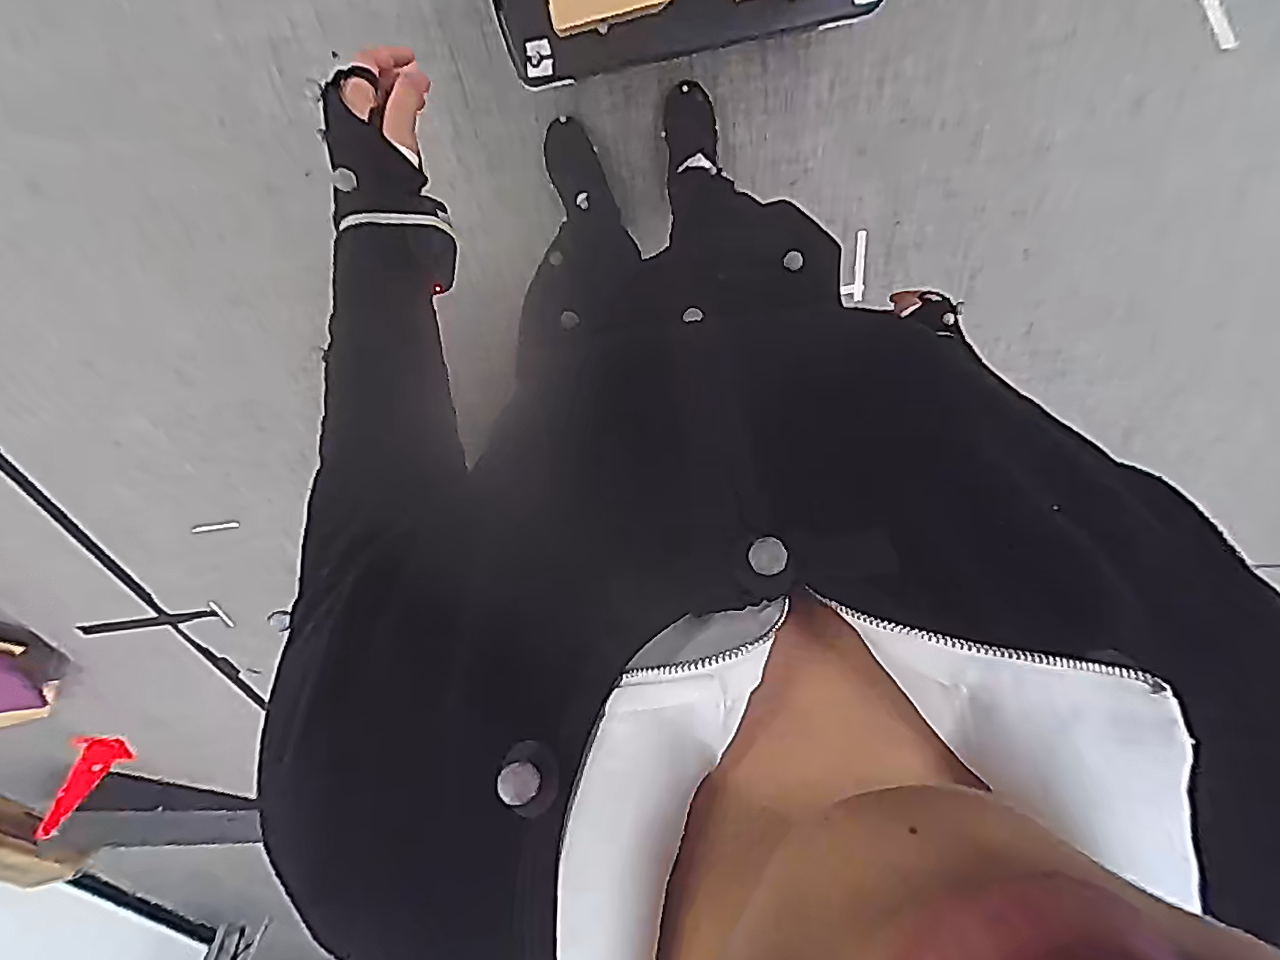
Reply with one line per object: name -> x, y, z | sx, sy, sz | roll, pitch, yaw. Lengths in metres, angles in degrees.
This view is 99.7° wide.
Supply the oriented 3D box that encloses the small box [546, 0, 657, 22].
small box -> -0.062, -0.790, 0.794 | 0.179, 0.176, 0.168 | -11, 127, 5
